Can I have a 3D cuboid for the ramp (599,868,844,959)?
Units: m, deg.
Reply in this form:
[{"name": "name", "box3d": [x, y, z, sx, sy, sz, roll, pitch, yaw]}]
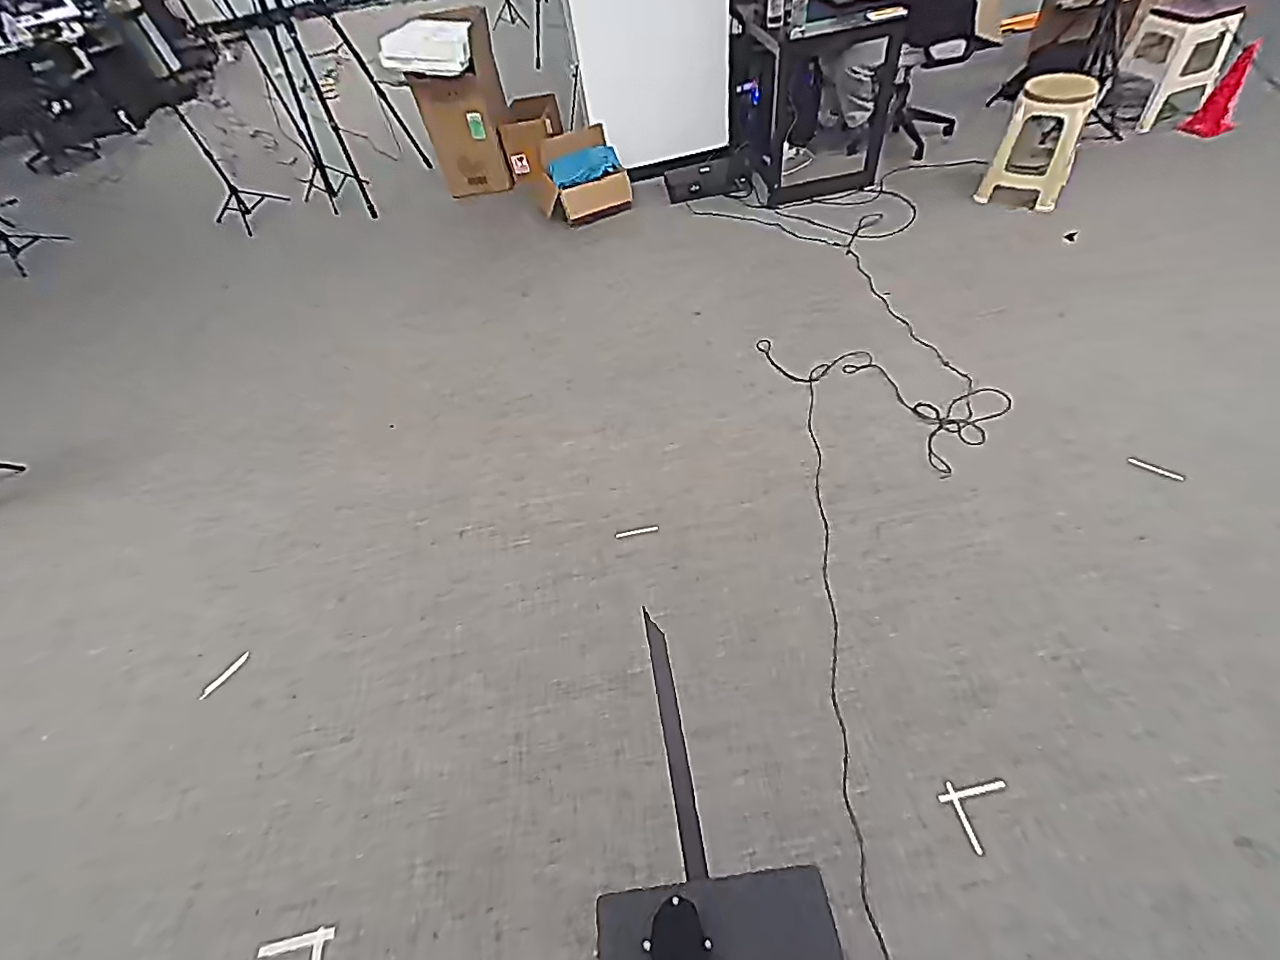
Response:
[{"name": "ramp", "box3d": [0.189, 1.205, 0.805, 0.509, 0.206, 0.991, -12, 50, 2]}]
